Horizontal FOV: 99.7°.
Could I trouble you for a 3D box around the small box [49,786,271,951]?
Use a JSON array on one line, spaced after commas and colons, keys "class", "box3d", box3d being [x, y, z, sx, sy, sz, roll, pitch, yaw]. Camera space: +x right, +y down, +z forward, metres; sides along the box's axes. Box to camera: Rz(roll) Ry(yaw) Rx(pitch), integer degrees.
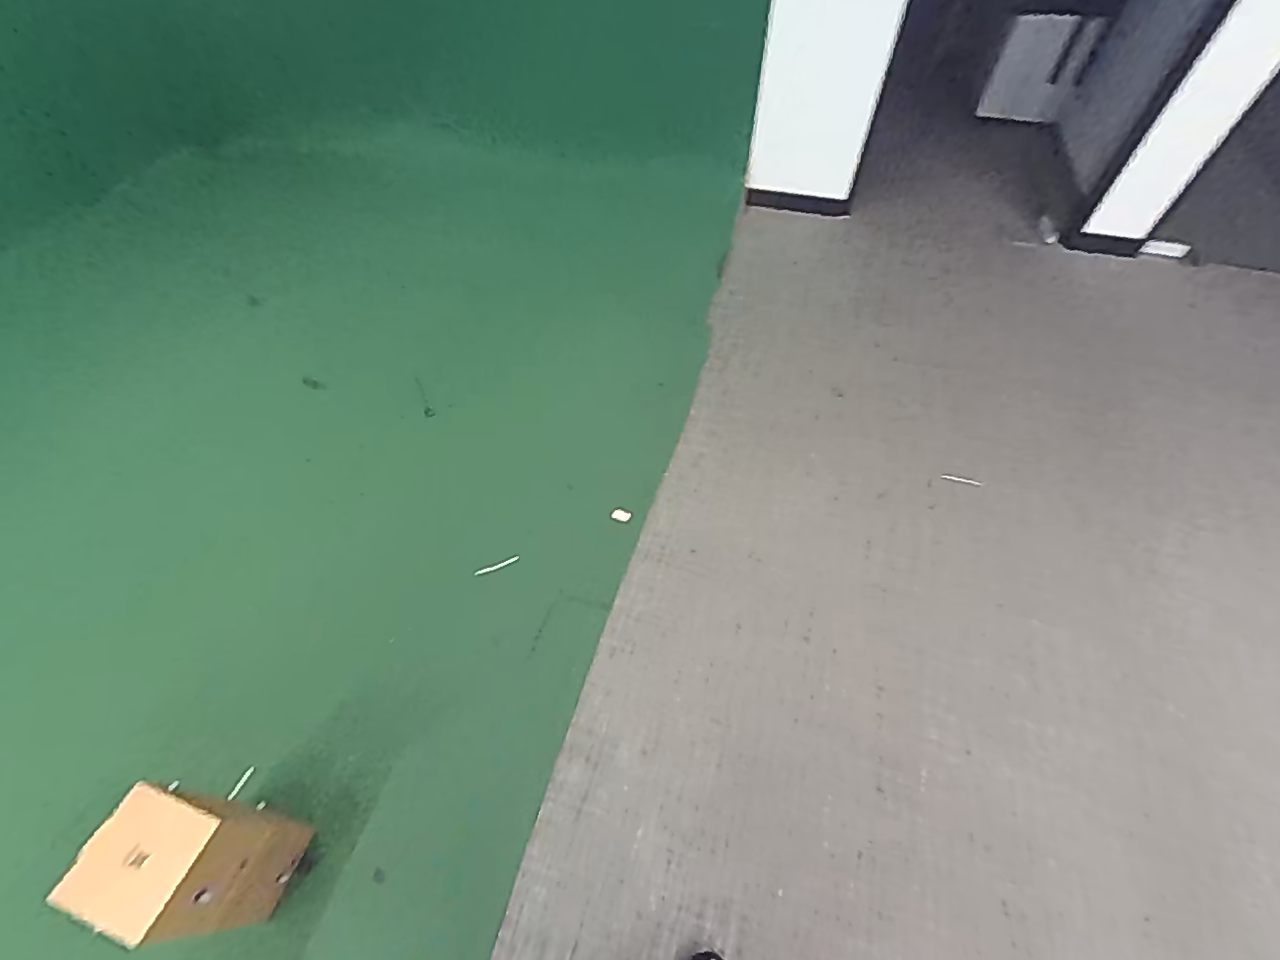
[{"class": "small box", "box3d": [-0.771, 0.631, 0.894, 0.179, 0.176, 0.168, 15, 56, 11]}]
